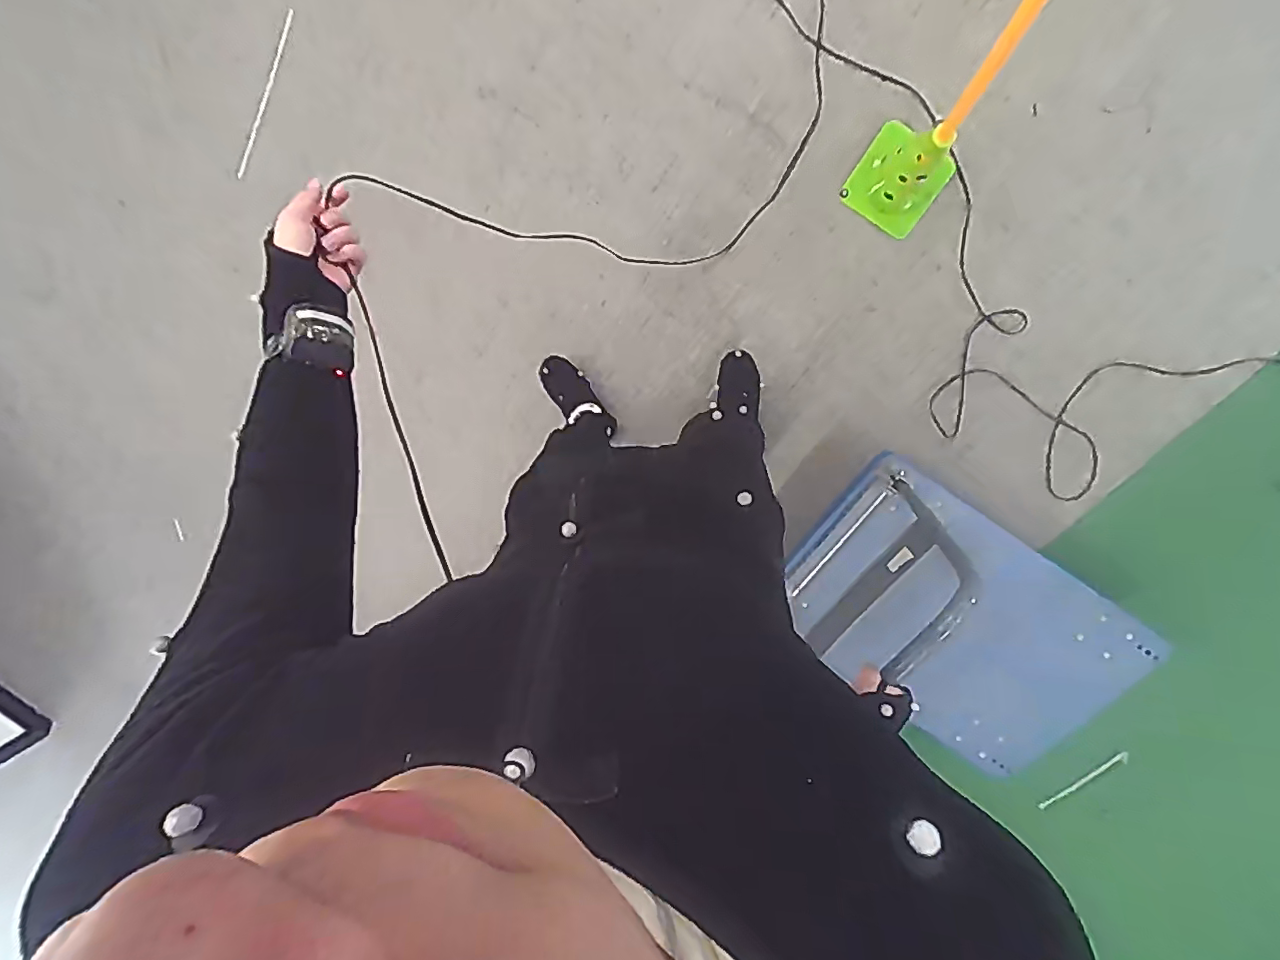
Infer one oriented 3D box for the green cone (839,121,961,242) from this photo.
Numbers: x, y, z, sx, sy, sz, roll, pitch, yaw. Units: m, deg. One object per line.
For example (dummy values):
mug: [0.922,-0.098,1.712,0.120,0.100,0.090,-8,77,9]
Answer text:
green cone: [0.583,-0.661,1.134,0.200,0.368,0.202,33,109,0]
